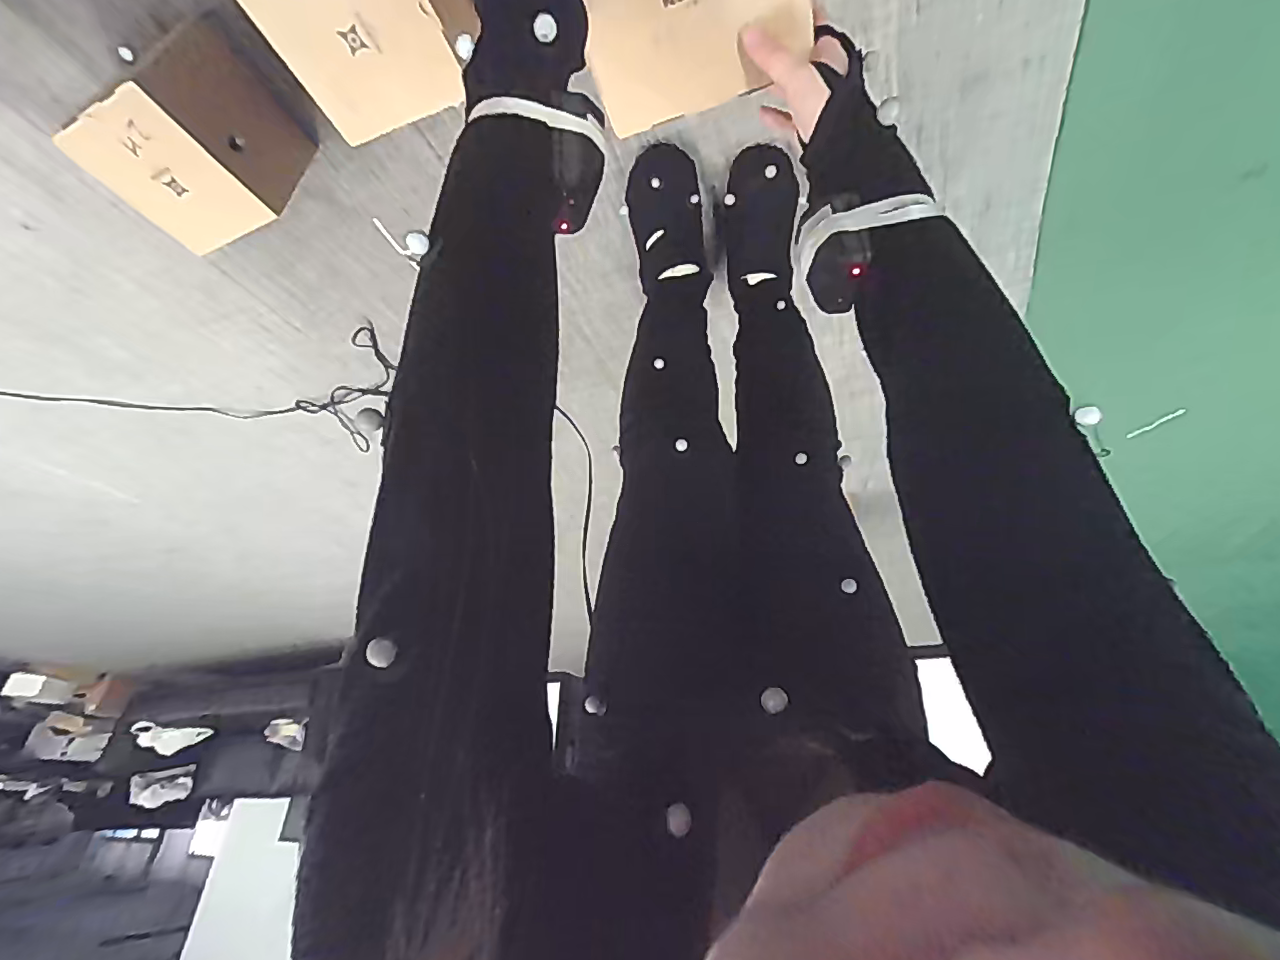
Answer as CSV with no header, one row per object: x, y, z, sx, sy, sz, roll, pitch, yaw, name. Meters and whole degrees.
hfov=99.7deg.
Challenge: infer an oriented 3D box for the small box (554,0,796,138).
0.023,-0.415,0.413,0.168,0.176,0.179,-8,149,17,small box
